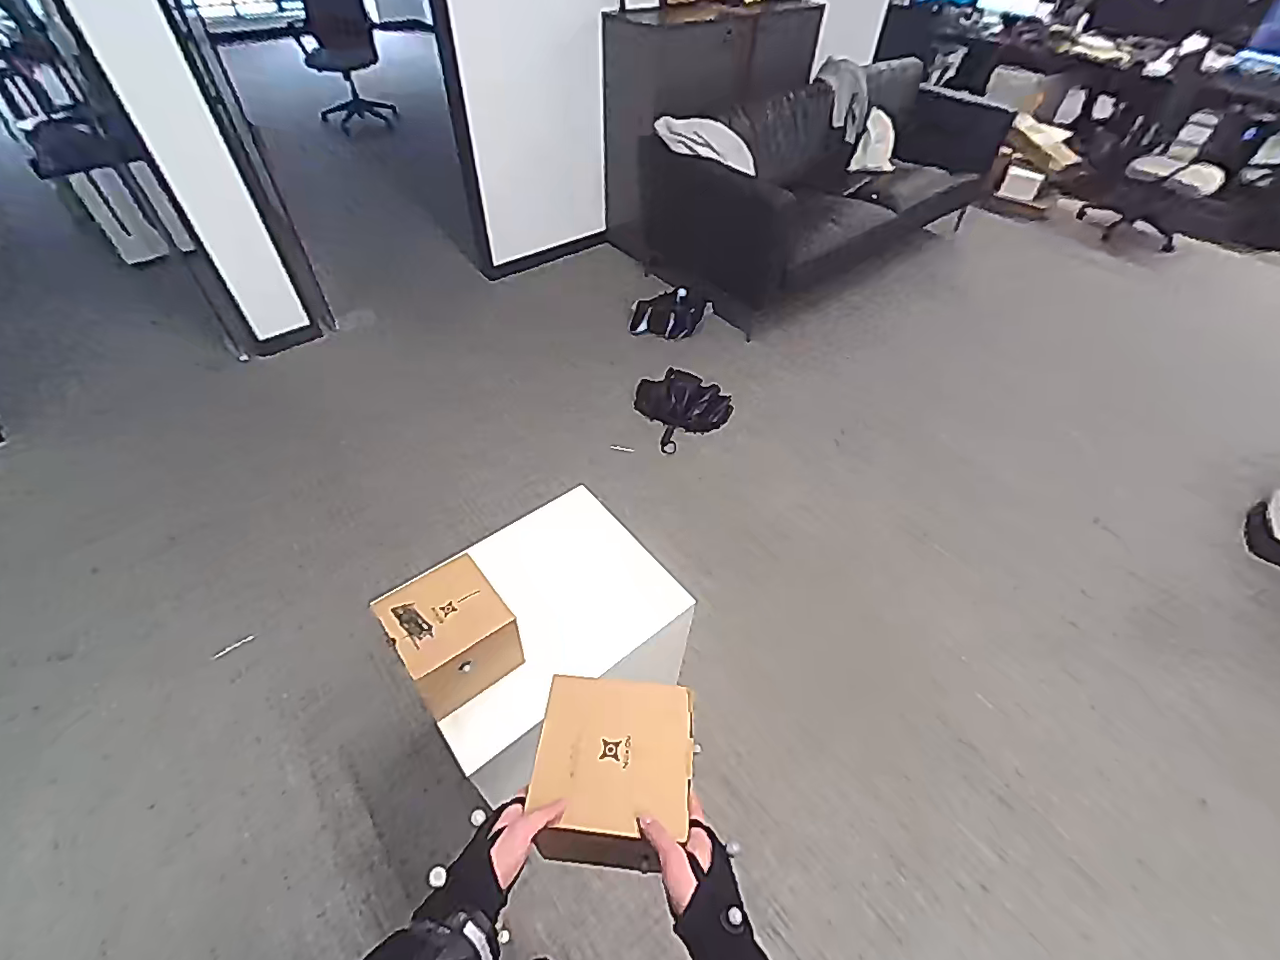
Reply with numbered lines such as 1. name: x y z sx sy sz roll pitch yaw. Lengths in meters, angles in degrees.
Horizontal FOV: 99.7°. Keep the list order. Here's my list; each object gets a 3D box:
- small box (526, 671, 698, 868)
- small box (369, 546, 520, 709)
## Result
1. small box: -0.024 0.354 0.659 0.179 0.176 0.168 3 45 4
2. small box: -0.321 0.253 0.919 0.179 0.176 0.168 -29 57 -29
